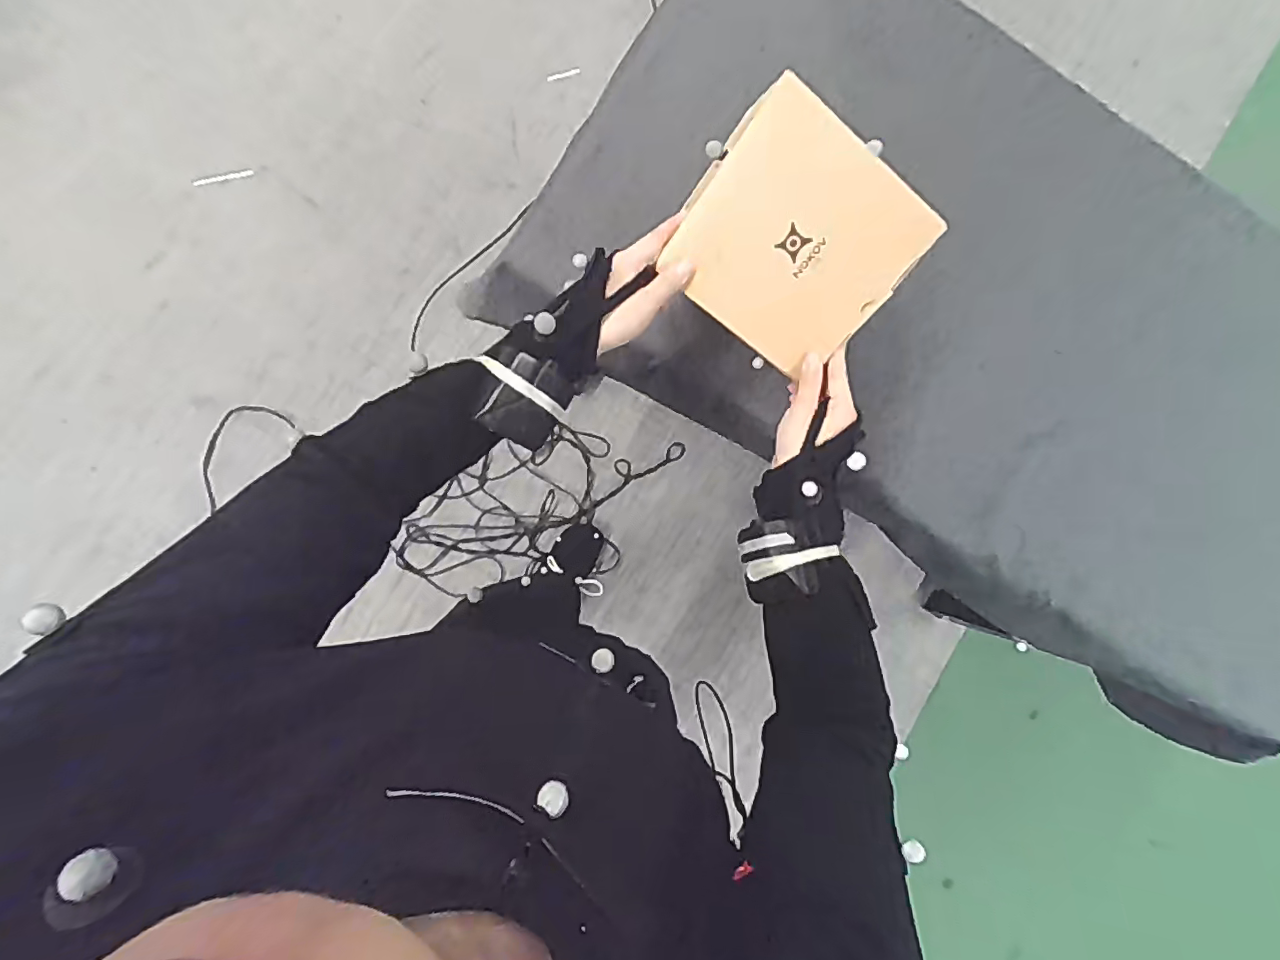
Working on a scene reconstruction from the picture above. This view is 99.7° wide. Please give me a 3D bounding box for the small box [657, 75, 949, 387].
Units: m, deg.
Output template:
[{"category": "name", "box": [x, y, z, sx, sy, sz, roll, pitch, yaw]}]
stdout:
[{"category": "small box", "box": [0.128, -0.219, 0.503, 0.179, 0.176, 0.168, 32, 113, -16]}]
